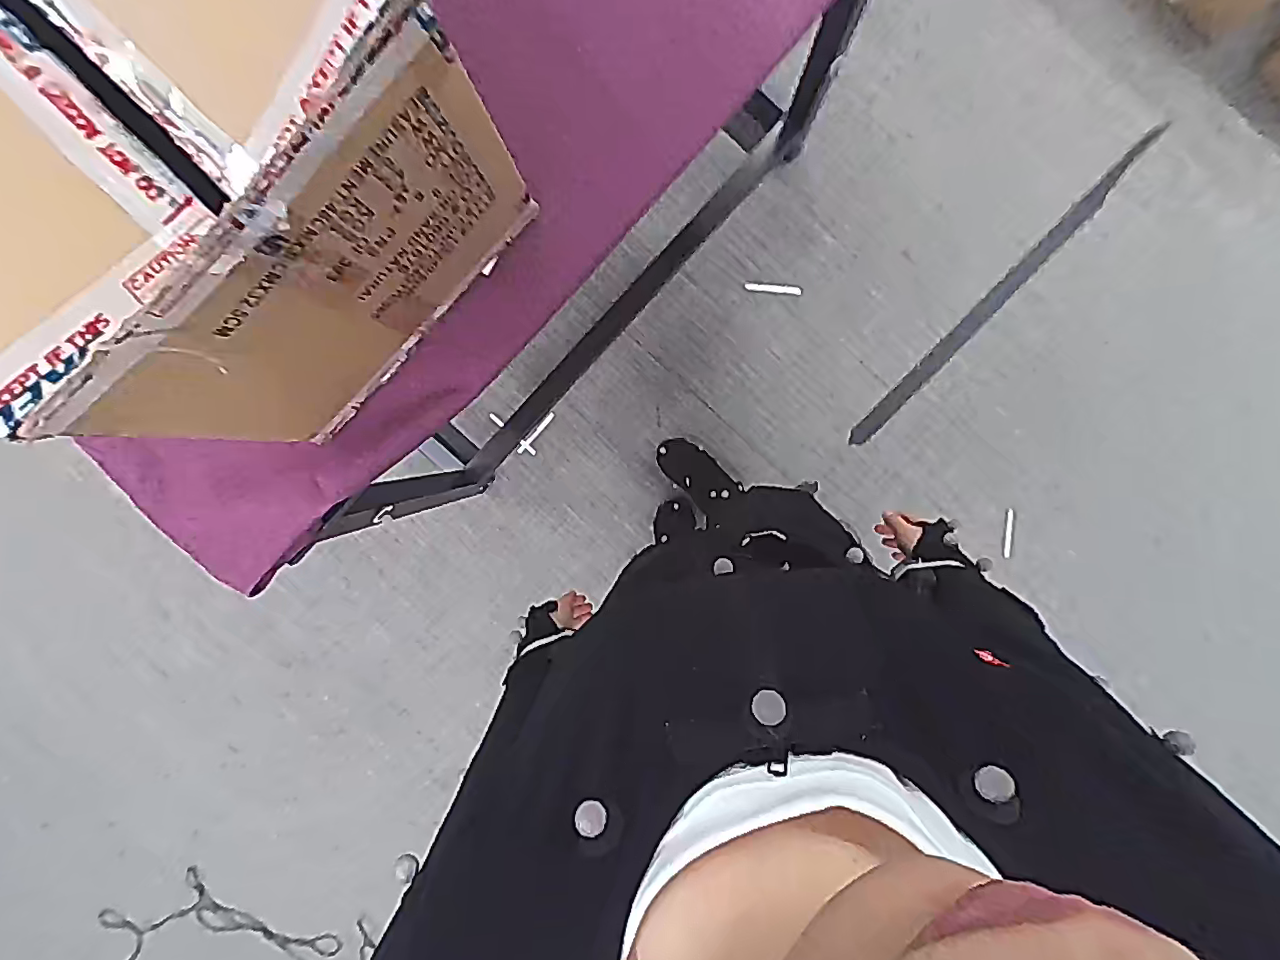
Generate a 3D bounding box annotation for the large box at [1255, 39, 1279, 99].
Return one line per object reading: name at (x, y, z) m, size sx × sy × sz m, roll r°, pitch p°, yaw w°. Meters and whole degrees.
large box at (1.673, -1.004, 1.109) m, size 0.320 × 0.320 × 0.408 m, roll 41°, pitch 95°, yaw -1°
